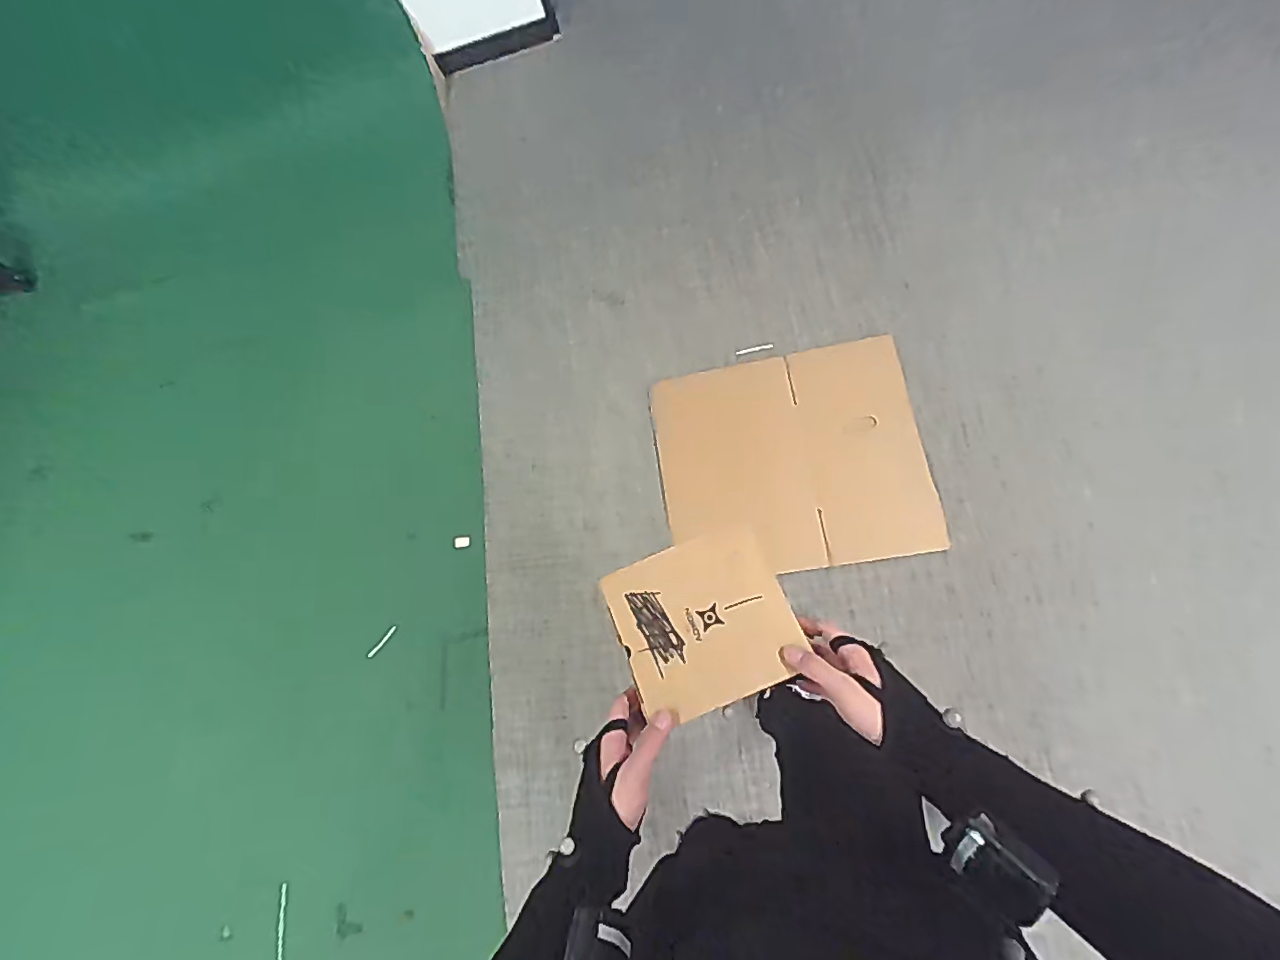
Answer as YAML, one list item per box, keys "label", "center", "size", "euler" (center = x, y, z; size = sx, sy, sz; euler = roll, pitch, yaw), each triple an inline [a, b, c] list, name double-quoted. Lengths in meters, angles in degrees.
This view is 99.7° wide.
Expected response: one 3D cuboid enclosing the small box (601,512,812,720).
- label: "small box"
  center: [0.077, 0.164, 0.628]
  size: [0.179, 0.176, 0.168]
  euler: [-23, 67, 1]
